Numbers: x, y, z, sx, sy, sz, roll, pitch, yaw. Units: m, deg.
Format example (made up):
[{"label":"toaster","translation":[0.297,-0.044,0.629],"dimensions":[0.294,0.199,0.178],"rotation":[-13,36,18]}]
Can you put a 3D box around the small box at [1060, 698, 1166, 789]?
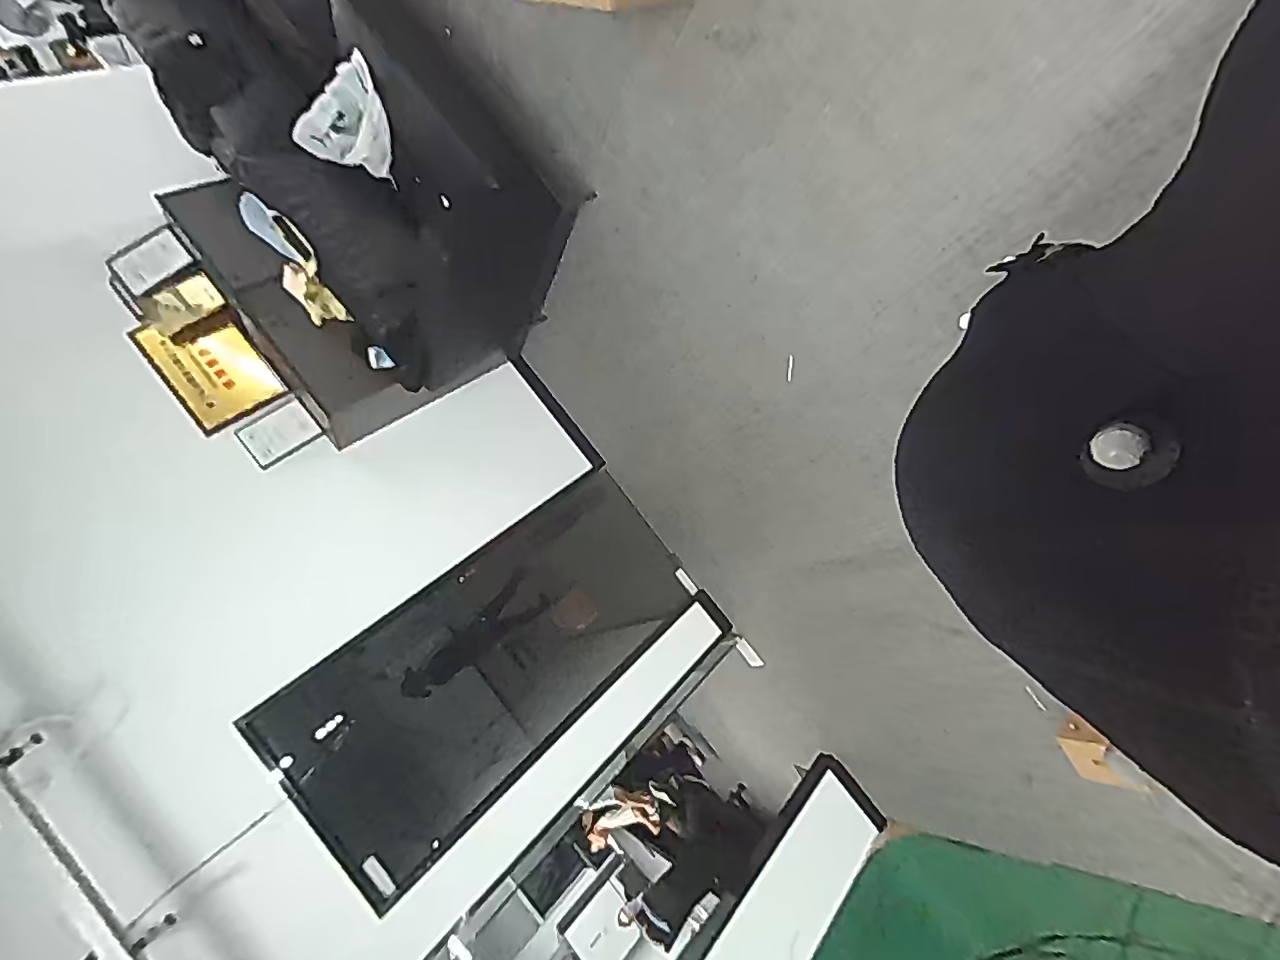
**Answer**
[{"label":"small box","translation":[1.439,0.791,1.644],"dimensions":[0.168,0.176,0.179],"rotation":[54,151,-4]}]
